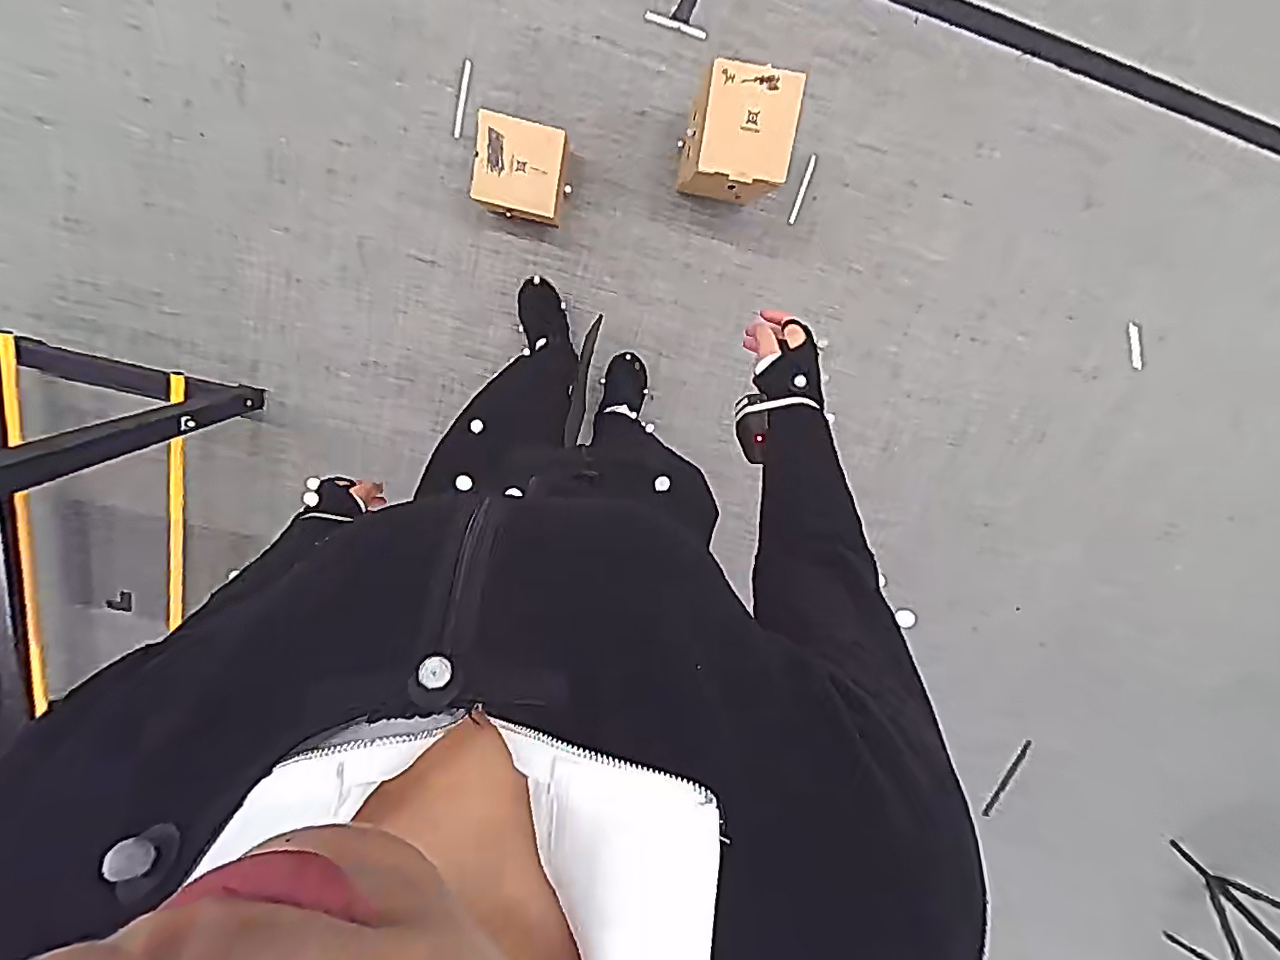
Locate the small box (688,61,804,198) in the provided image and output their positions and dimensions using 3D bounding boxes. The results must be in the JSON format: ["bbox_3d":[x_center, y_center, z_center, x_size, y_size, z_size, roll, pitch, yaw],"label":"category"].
[{"bbox_3d":[0.191,-0.655,1.034,0.168,0.176,0.179,7,110,-6],"label":"small box"}]

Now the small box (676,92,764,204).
[{"bbox_3d":[0.187,-0.717,1.186,0.179,0.176,0.168,8,109,-6],"label":"small box"}]

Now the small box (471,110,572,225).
[{"bbox_3d":[-0.253,-0.668,1.179,0.179,0.176,0.168,11,109,-7],"label":"small box"}]
